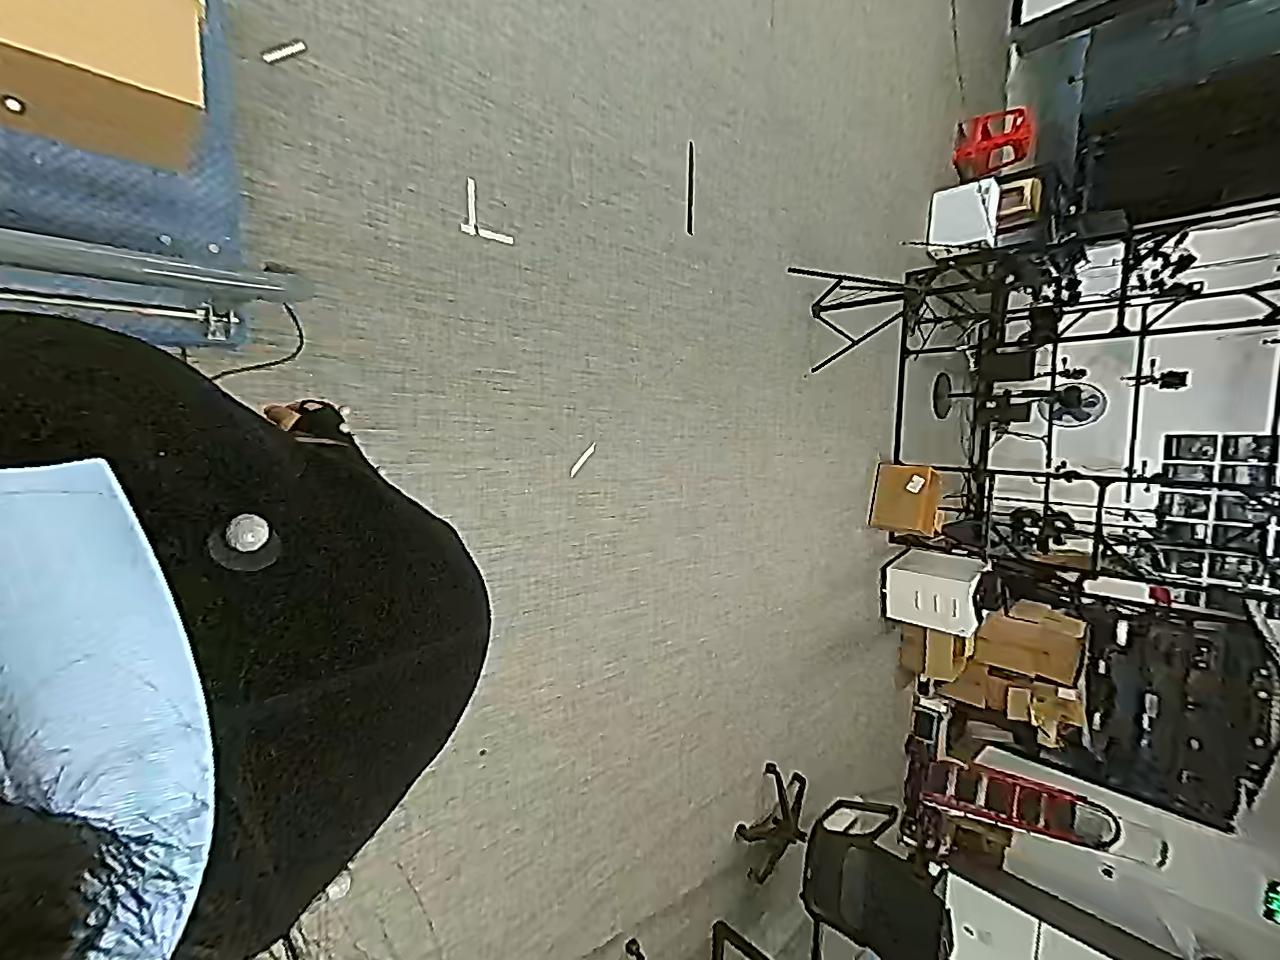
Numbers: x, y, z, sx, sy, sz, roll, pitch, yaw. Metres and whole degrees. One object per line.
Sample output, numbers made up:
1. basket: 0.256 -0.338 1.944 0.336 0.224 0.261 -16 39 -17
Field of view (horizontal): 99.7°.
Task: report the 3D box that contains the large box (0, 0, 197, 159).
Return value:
1. large box: -0.900 -0.714 0.751 0.408 0.320 0.320 -5 98 -44
